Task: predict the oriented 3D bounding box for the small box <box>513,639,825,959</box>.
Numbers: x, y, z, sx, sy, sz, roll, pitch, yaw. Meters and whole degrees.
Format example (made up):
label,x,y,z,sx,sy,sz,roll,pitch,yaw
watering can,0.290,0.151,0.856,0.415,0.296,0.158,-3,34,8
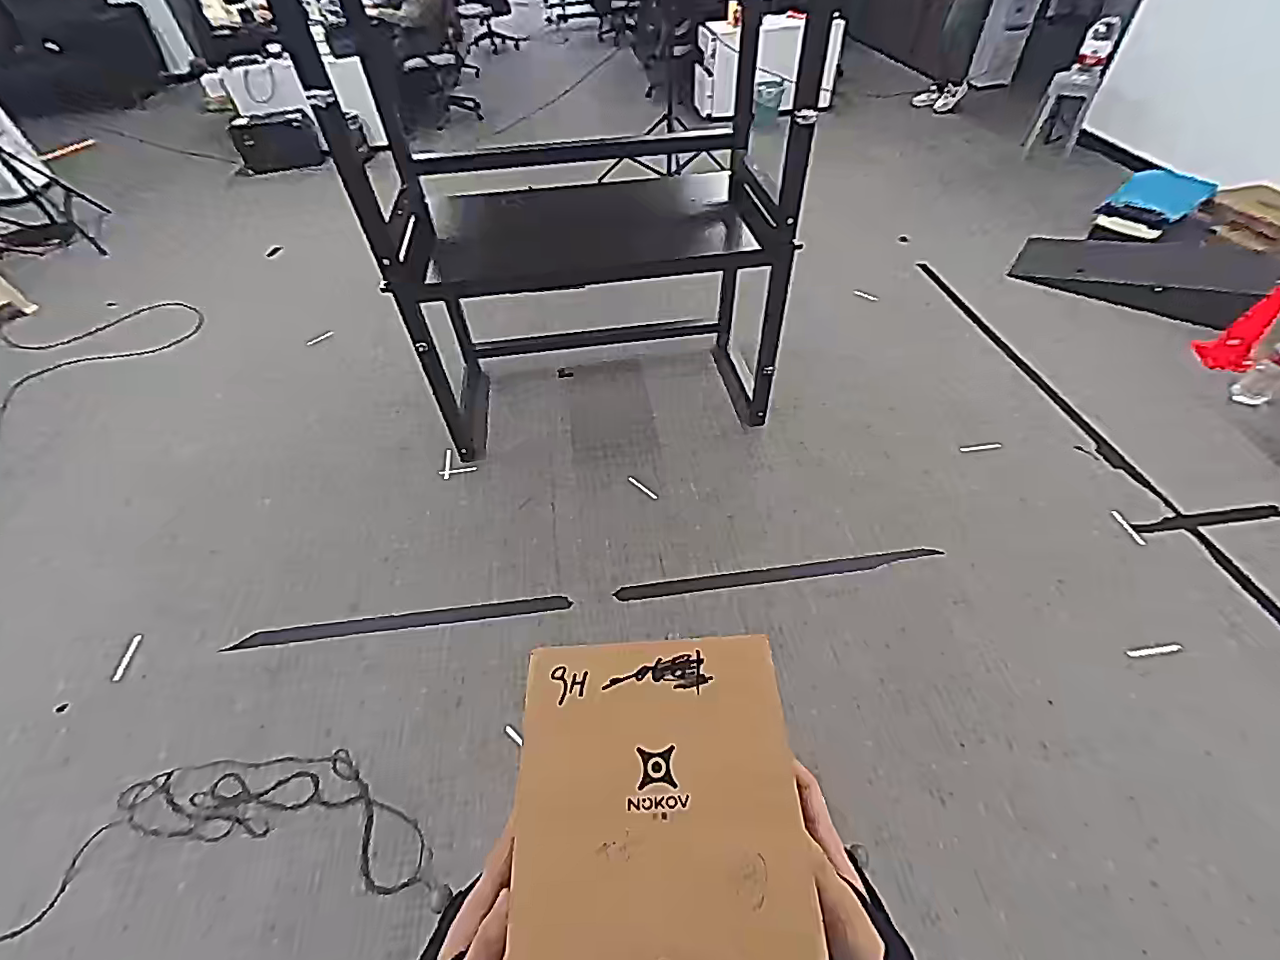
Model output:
label,x,y,z,sx,sy,sz,roll,pitch,yaw
small box,0.015,0.231,0.389,0.168,0.176,0.179,-3,53,0
